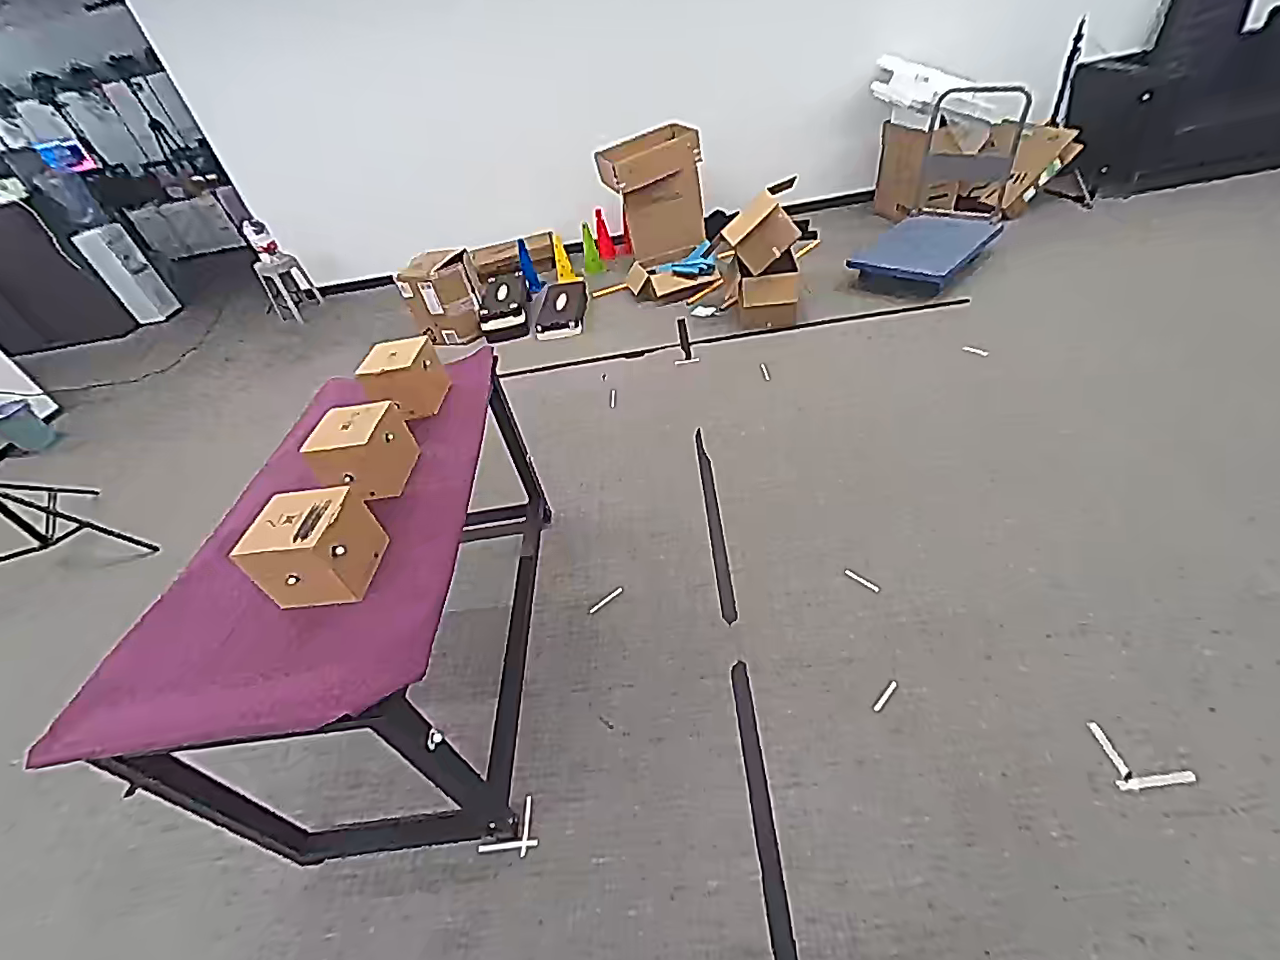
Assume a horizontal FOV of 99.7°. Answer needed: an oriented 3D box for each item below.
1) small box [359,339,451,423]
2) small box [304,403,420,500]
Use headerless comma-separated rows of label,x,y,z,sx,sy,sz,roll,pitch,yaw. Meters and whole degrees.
small box,-0.673,-0.285,1.575,0.168,0.176,0.179,-7,42,7
small box,-0.666,-0.063,1.323,0.168,0.176,0.179,-6,41,6
